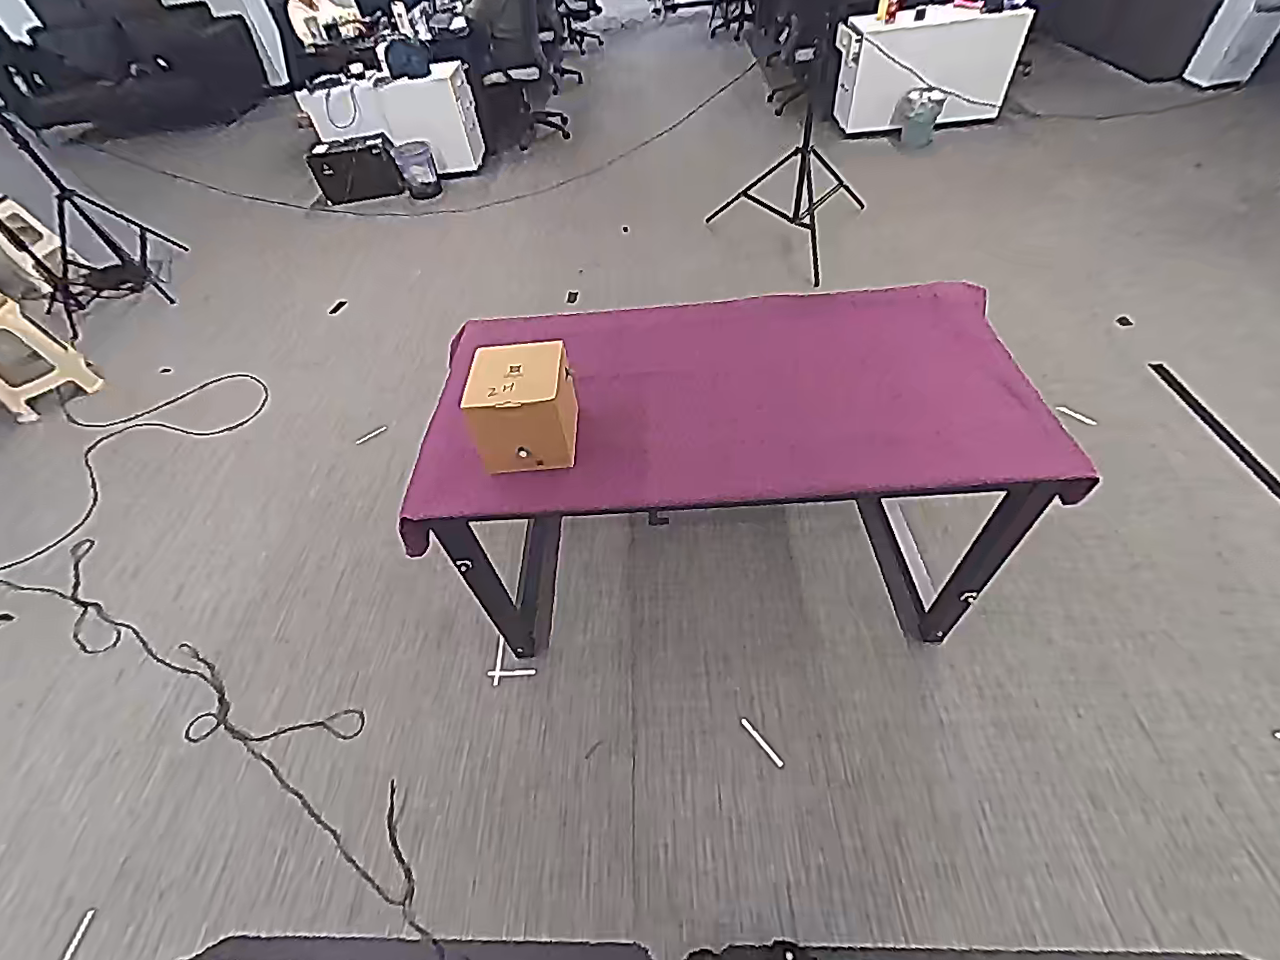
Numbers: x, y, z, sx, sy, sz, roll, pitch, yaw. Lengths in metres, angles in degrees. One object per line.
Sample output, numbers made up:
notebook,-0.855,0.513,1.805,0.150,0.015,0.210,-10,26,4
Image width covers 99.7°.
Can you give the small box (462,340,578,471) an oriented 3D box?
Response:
small box,-0.214,-0.139,1.020,0.168,0.176,0.179,-5,49,3
